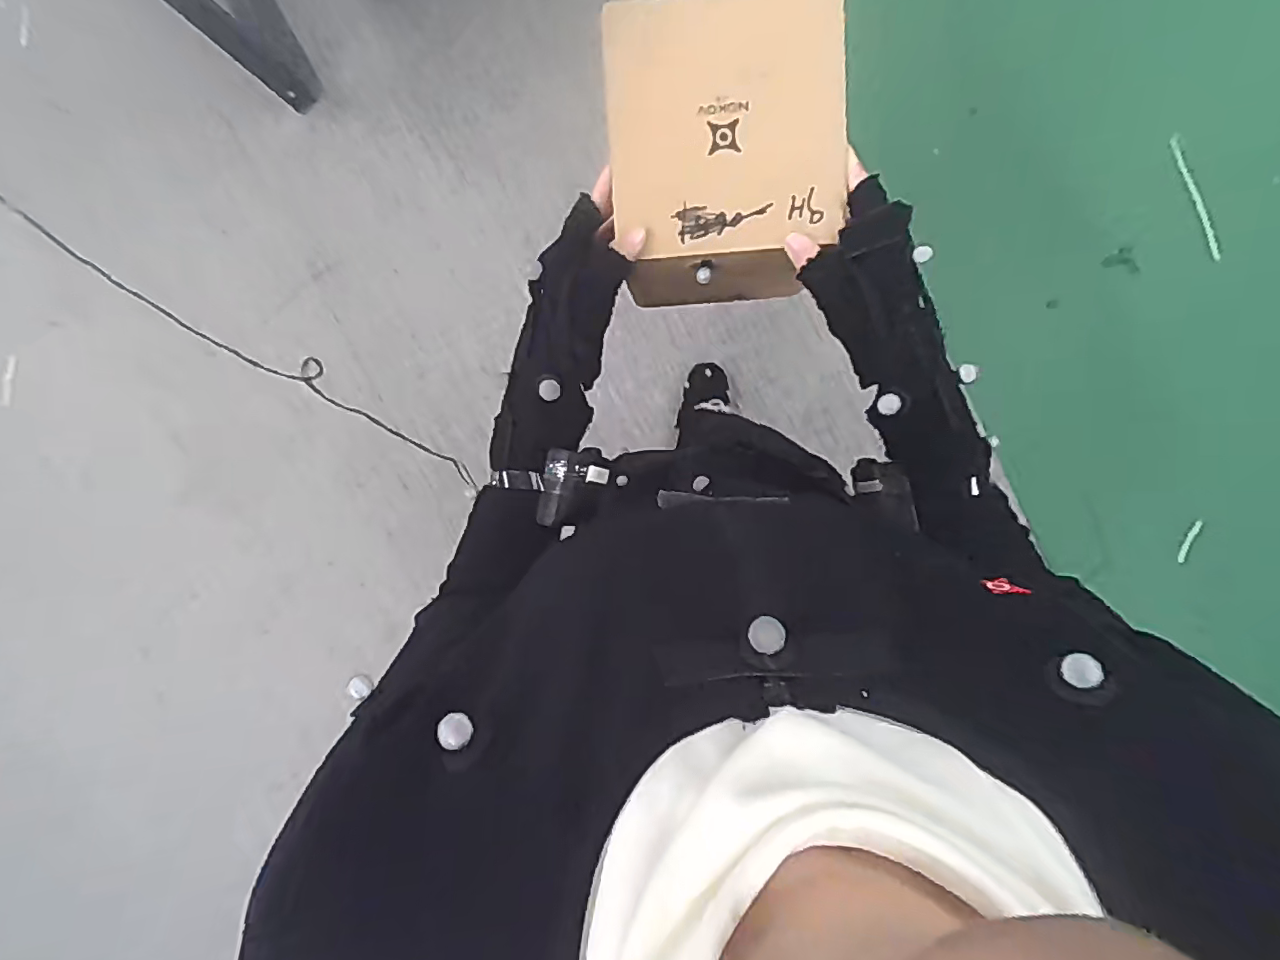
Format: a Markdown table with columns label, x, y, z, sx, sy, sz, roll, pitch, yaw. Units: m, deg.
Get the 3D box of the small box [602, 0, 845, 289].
| label | x | y | z | sx | sy | sz | roll | pitch | yaw |
| --- | --- | --- | --- | --- | --- | --- | --- | --- | --- |
| small box | 0.063 | -0.274 | 0.452 | 0.168 | 0.176 | 0.179 | -3 | 96 | 6 |
